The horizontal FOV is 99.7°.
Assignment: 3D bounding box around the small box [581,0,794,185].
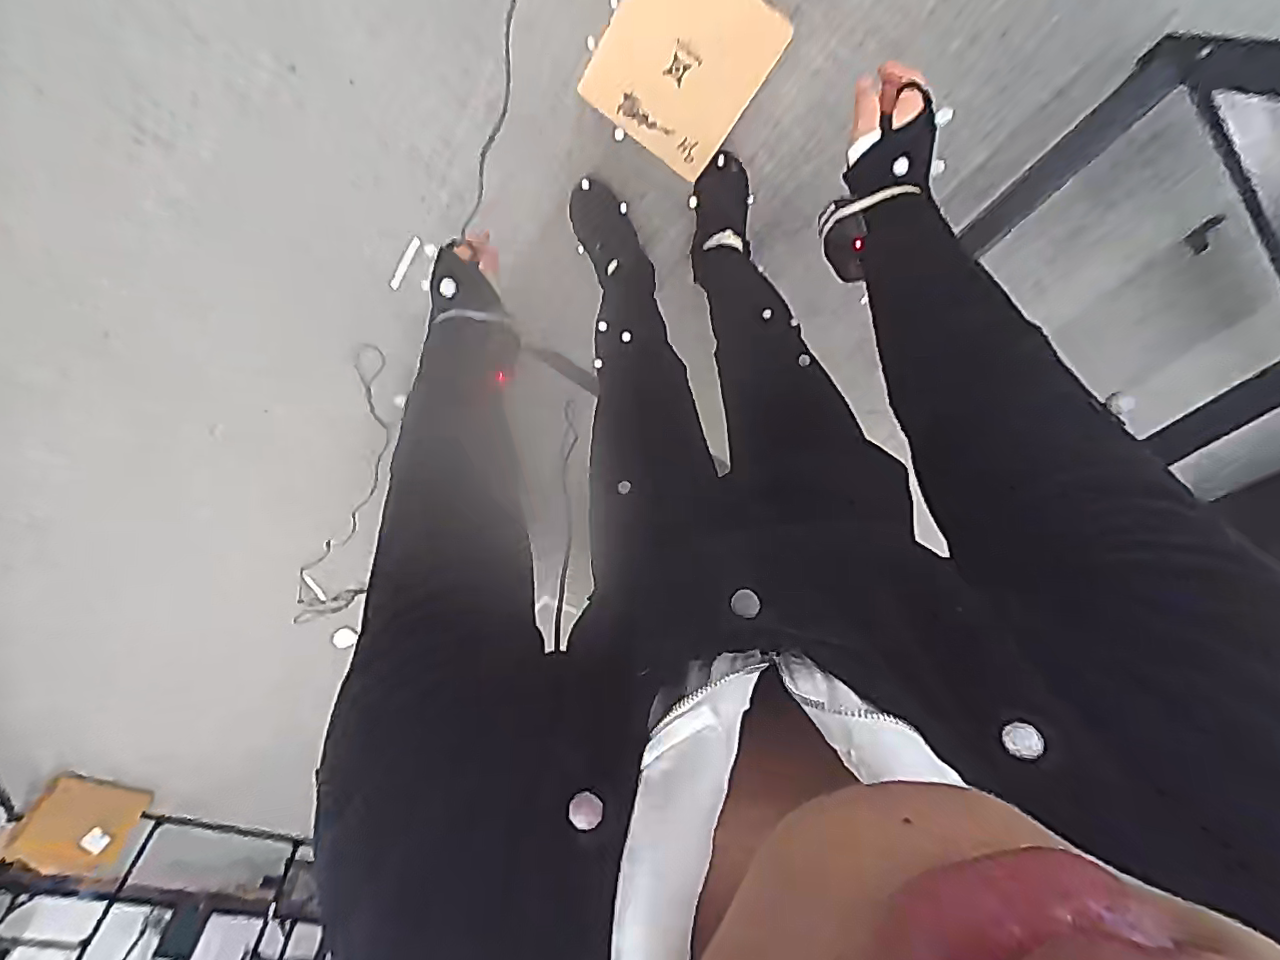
[{"bbox_3d":[0.045,-0.495,0.636,0.168,0.176,0.179,27,124,-22],"label":"small box"}]
